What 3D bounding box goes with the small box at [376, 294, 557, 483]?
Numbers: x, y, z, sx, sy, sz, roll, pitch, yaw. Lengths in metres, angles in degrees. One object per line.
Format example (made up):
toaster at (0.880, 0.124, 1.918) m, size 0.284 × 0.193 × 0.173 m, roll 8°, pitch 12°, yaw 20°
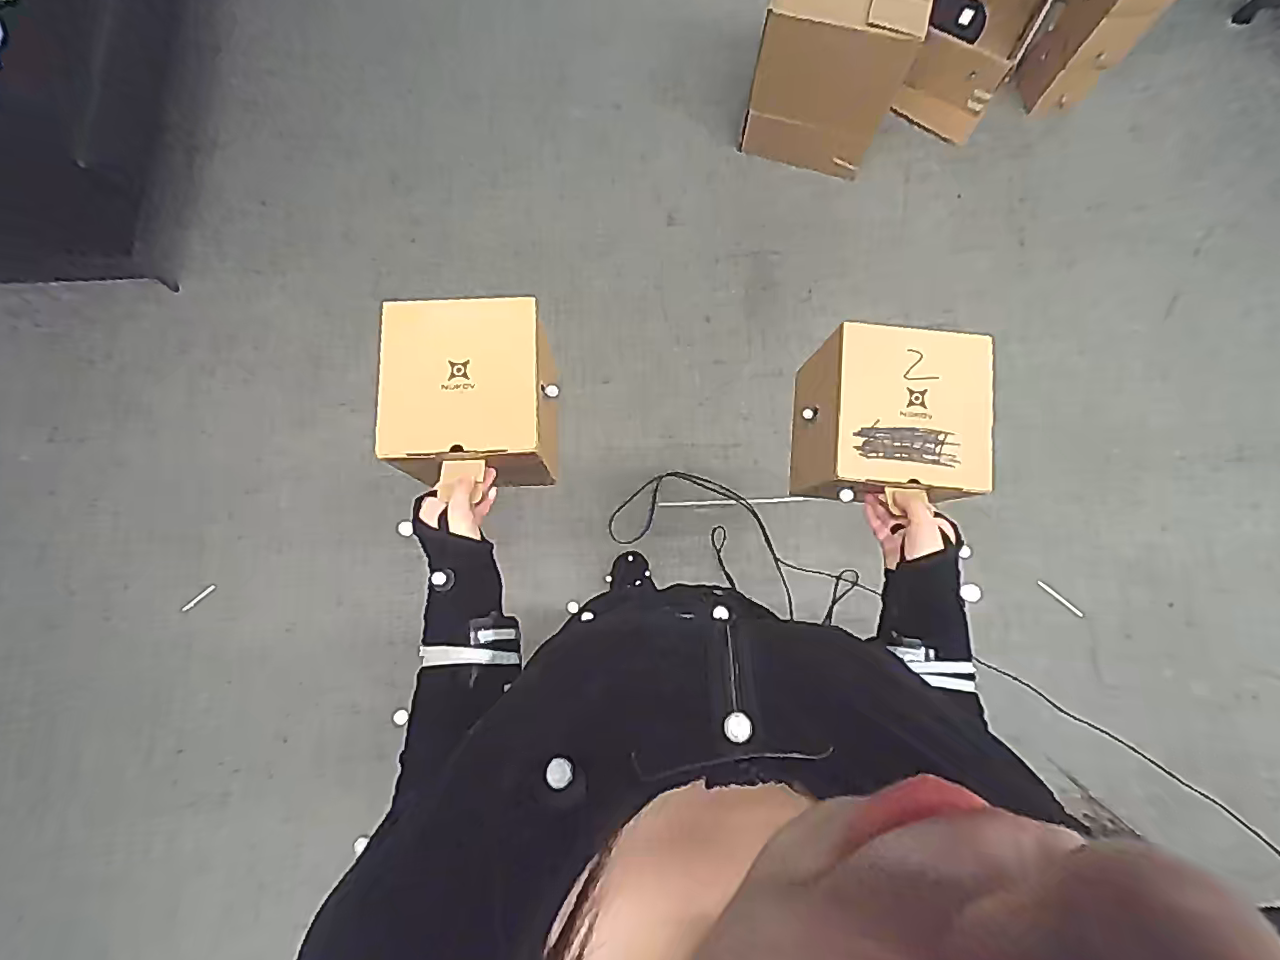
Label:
small box at (-0.192, -0.099, 0.643) m, size 0.168 × 0.176 × 0.179 m, roll -2°, pitch 79°, yaw -3°
